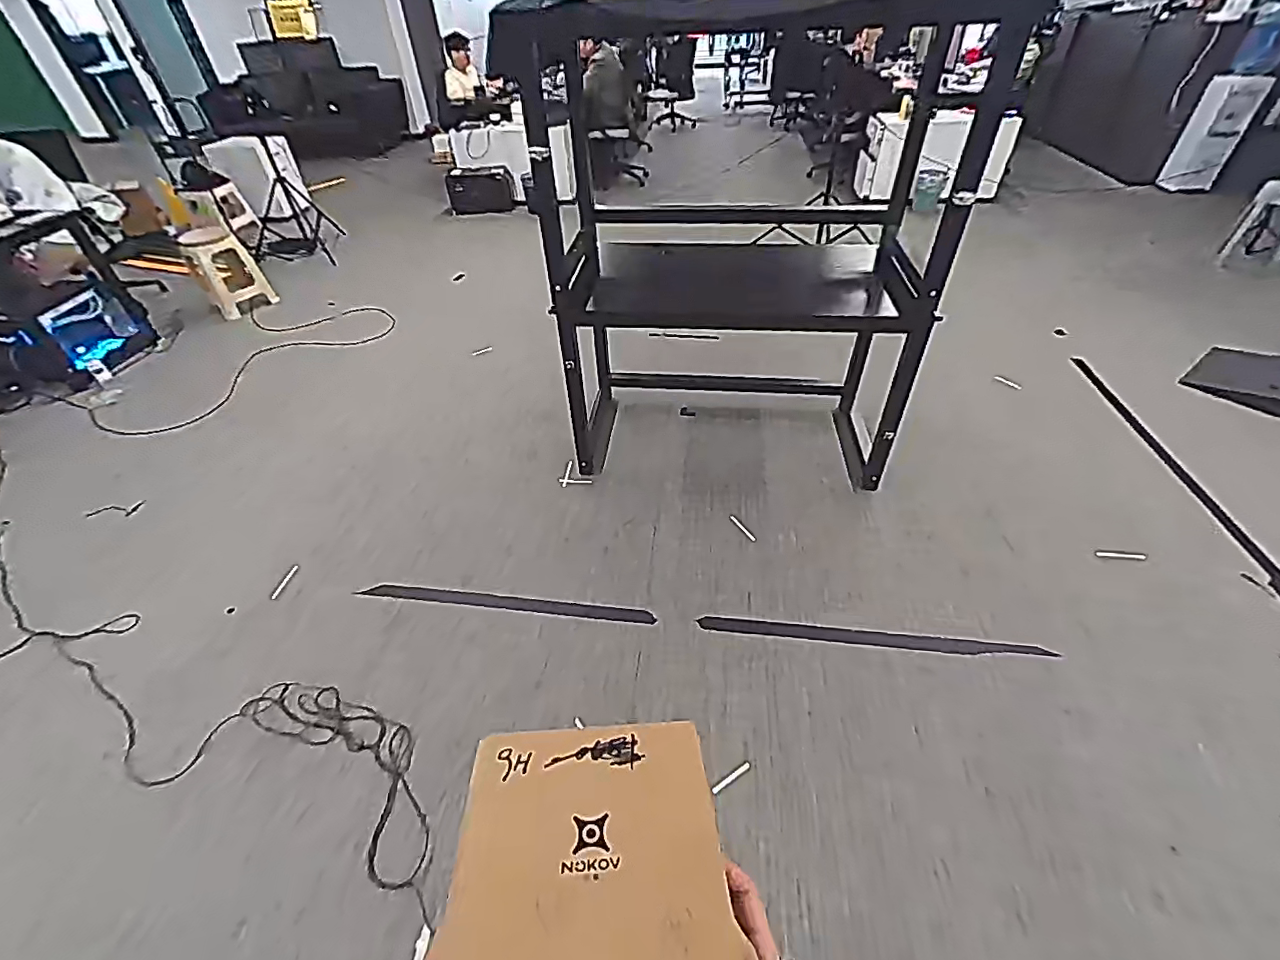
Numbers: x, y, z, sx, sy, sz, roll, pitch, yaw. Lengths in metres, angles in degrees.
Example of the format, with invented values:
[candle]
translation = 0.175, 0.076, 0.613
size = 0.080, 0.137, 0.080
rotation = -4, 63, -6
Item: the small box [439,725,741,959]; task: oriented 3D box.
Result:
[small box]
translation = -0.031, 0.303, 0.374
size = 0.168, 0.176, 0.179
rotation = -1, 30, -5
